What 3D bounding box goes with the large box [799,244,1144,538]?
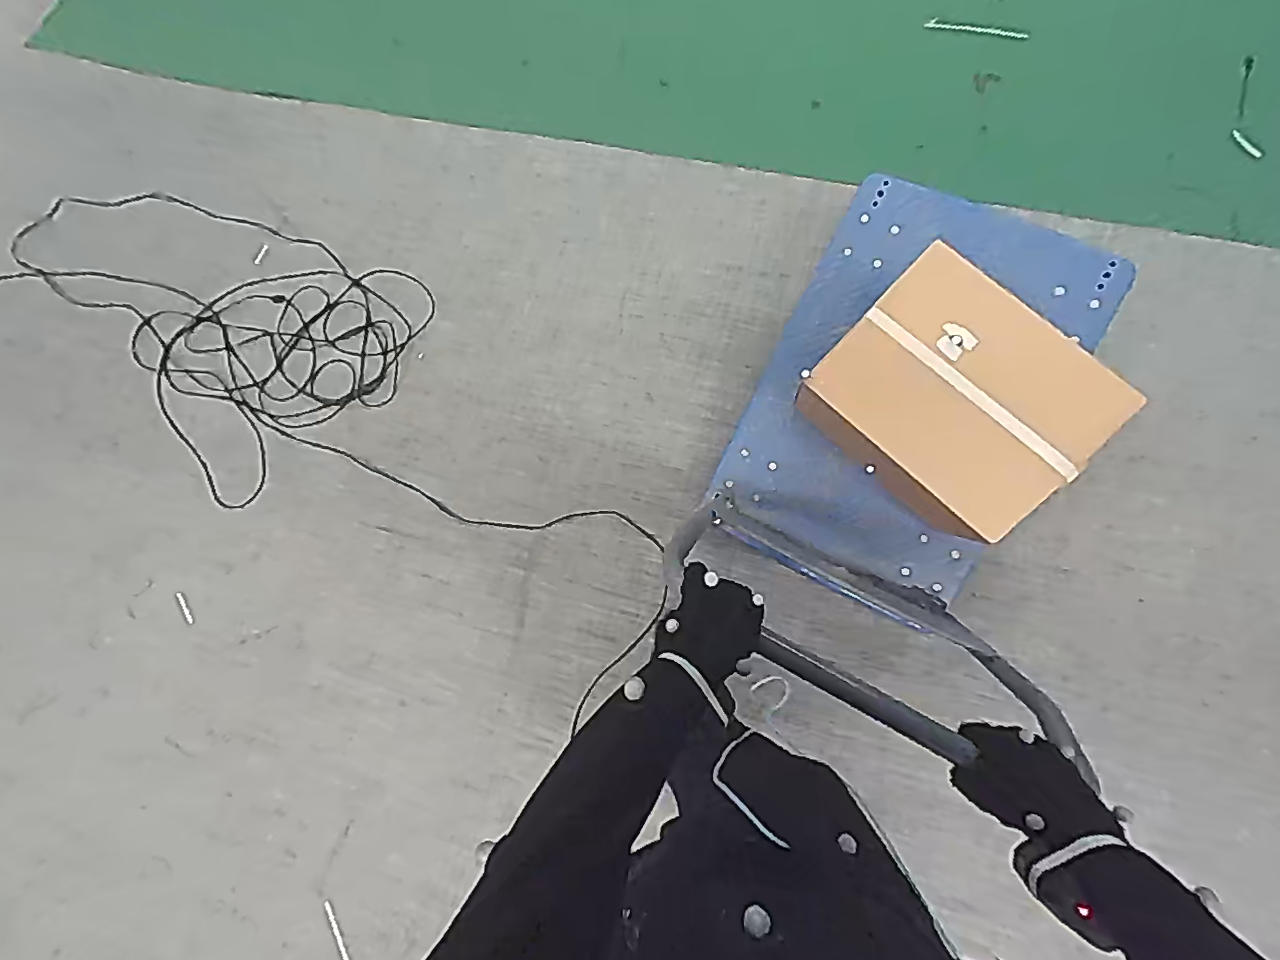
[{"bbox_3d":[0.557,-0.145,1.015,0.408,0.320,0.320,44,99,11],"label":"large box"}]
